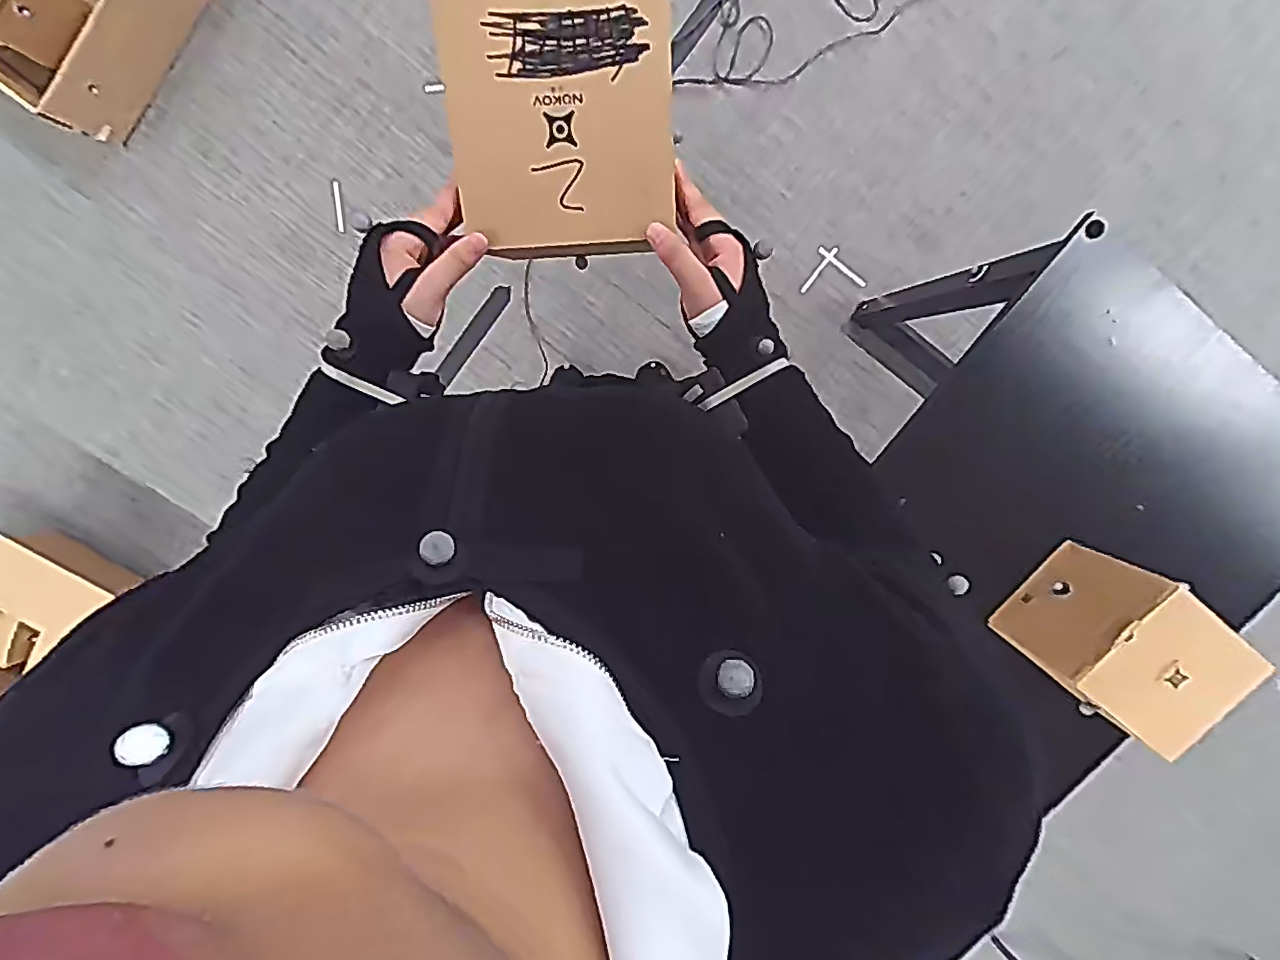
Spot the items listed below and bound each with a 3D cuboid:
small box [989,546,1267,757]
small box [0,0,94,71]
[{"bbox_3d":[0.629,0.214,0.722,0.179,0.176,0.168,38,98,-7],"label":"small box"},{"bbox_3d":[-1.352,-1.042,1.160,0.168,0.176,0.179,38,97,-10],"label":"small box"}]
